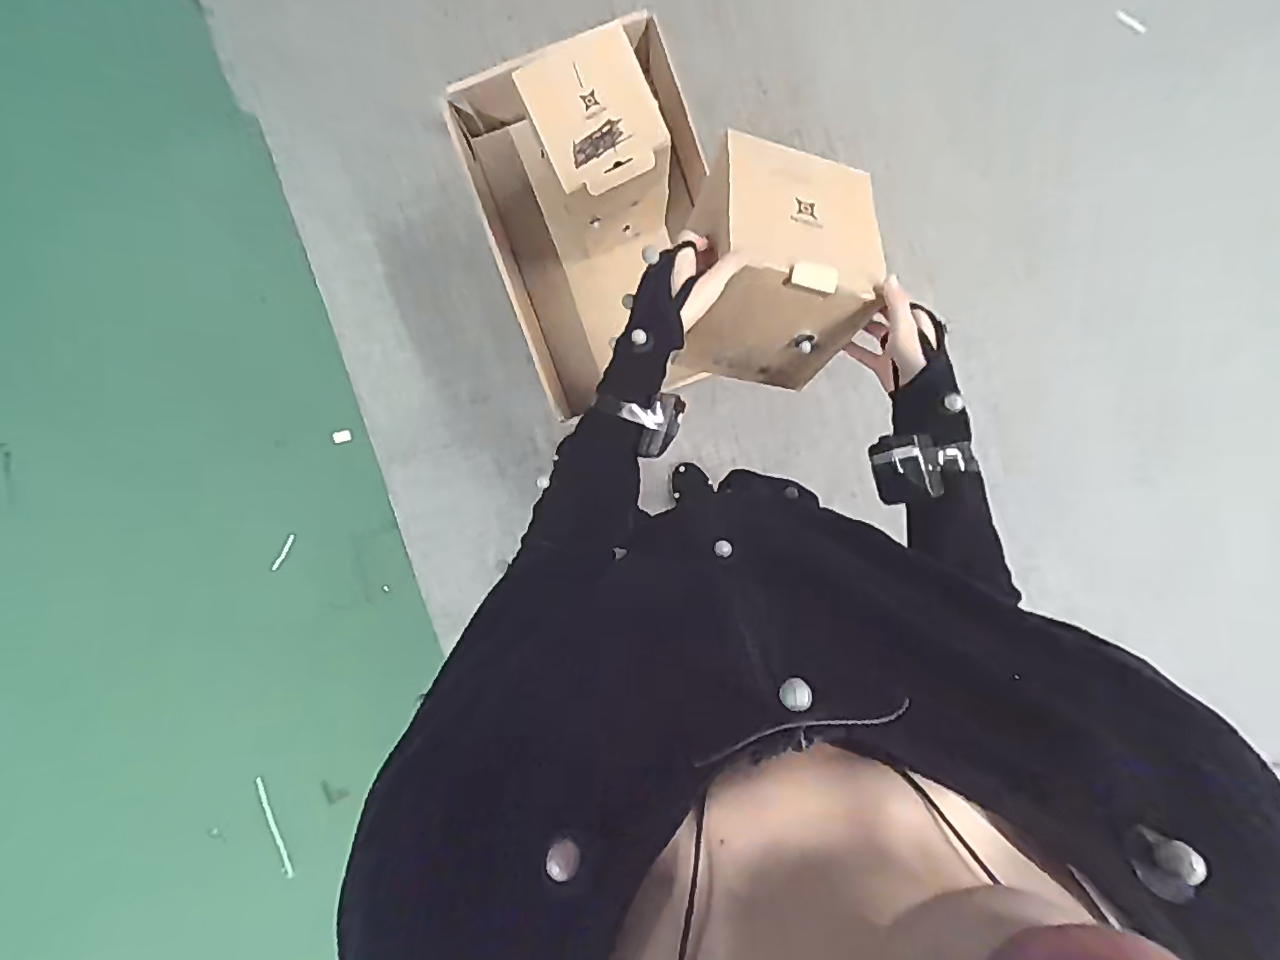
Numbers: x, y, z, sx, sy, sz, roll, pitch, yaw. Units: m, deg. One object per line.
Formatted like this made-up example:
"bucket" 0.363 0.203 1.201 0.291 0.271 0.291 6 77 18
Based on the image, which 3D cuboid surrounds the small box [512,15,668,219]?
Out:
"small box" -0.066 -0.523 0.816 0.168 0.176 0.179 -24 95 2
